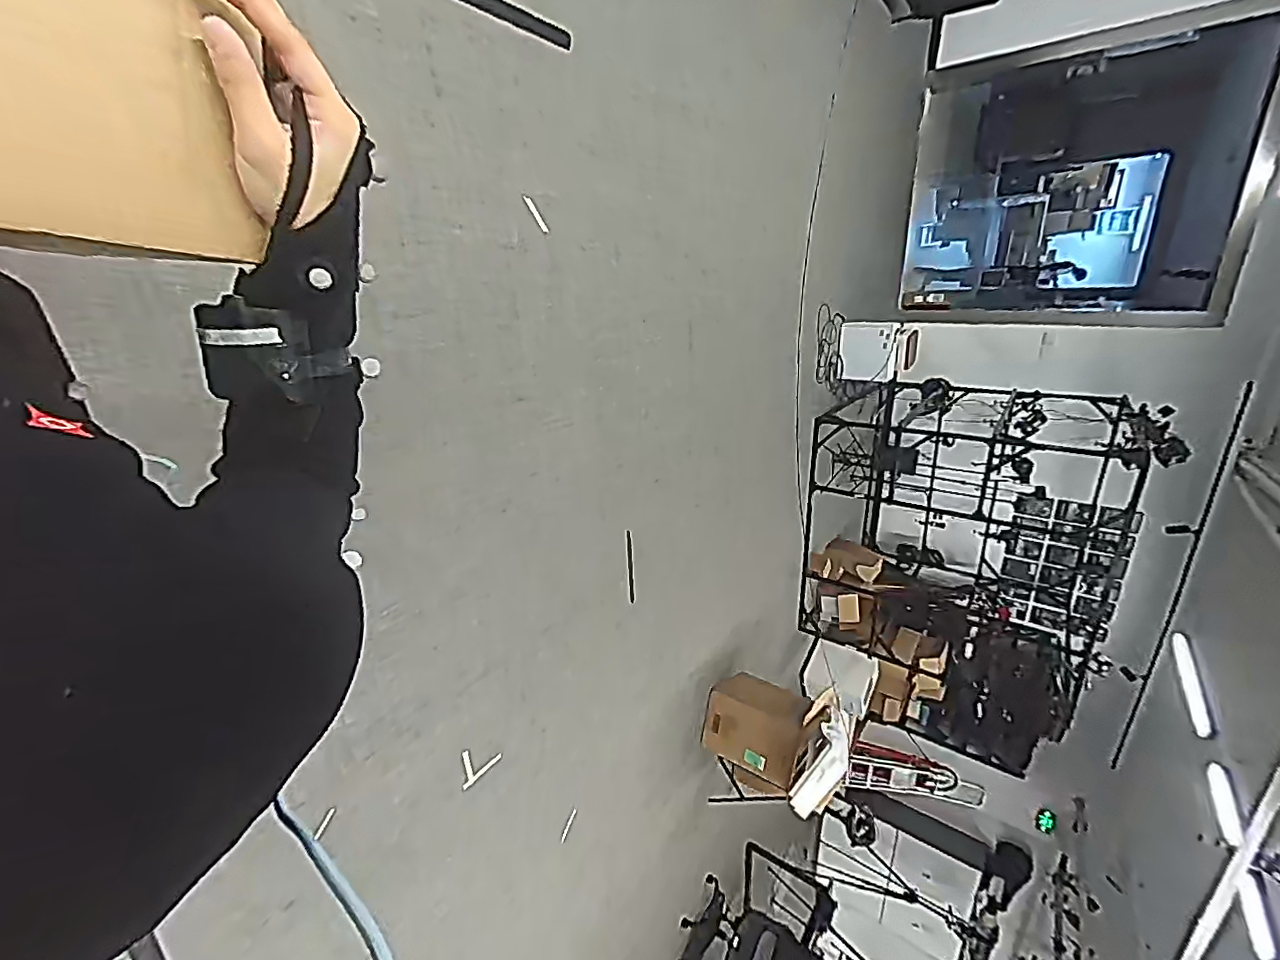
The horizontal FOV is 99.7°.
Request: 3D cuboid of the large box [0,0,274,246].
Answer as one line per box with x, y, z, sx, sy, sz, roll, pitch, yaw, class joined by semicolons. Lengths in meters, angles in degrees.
-0.442;-0.283;0.199;0.408;0.320;0.320;-19;120;-57;large box
